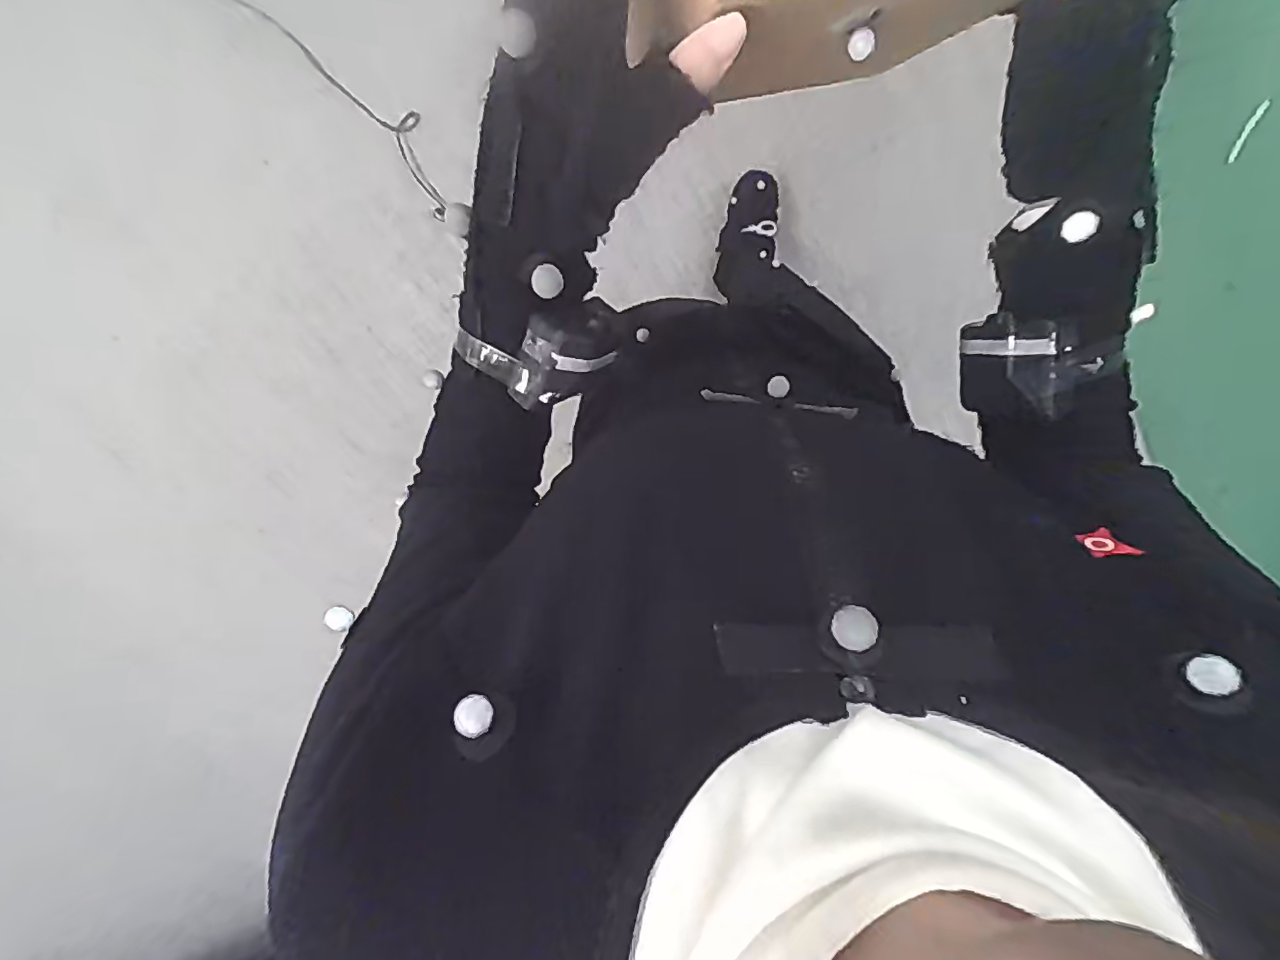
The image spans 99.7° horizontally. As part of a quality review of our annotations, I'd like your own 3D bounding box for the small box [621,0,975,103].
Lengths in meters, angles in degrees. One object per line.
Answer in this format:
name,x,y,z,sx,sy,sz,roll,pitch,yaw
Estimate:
small box,0.079,-0.297,0.244,0.179,0.176,0.168,-16,114,-7
